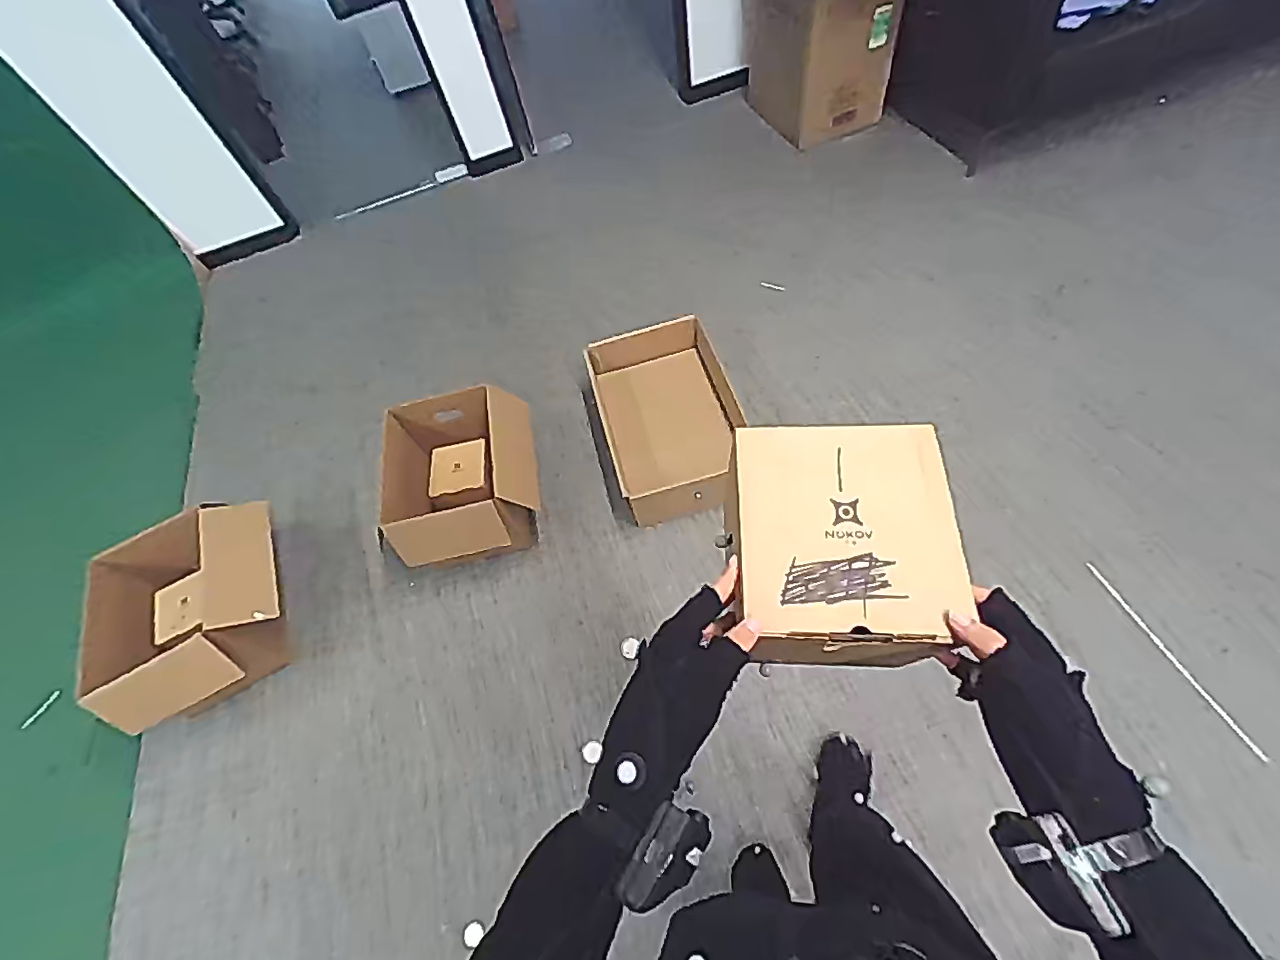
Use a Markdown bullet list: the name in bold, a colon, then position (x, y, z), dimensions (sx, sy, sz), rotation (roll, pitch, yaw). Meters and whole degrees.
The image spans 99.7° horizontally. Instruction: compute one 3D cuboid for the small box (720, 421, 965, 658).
- **small box**: position (0.162, 0.064, 0.498), dimensions (0.168, 0.176, 0.179), rotation (0, 64, 5)
